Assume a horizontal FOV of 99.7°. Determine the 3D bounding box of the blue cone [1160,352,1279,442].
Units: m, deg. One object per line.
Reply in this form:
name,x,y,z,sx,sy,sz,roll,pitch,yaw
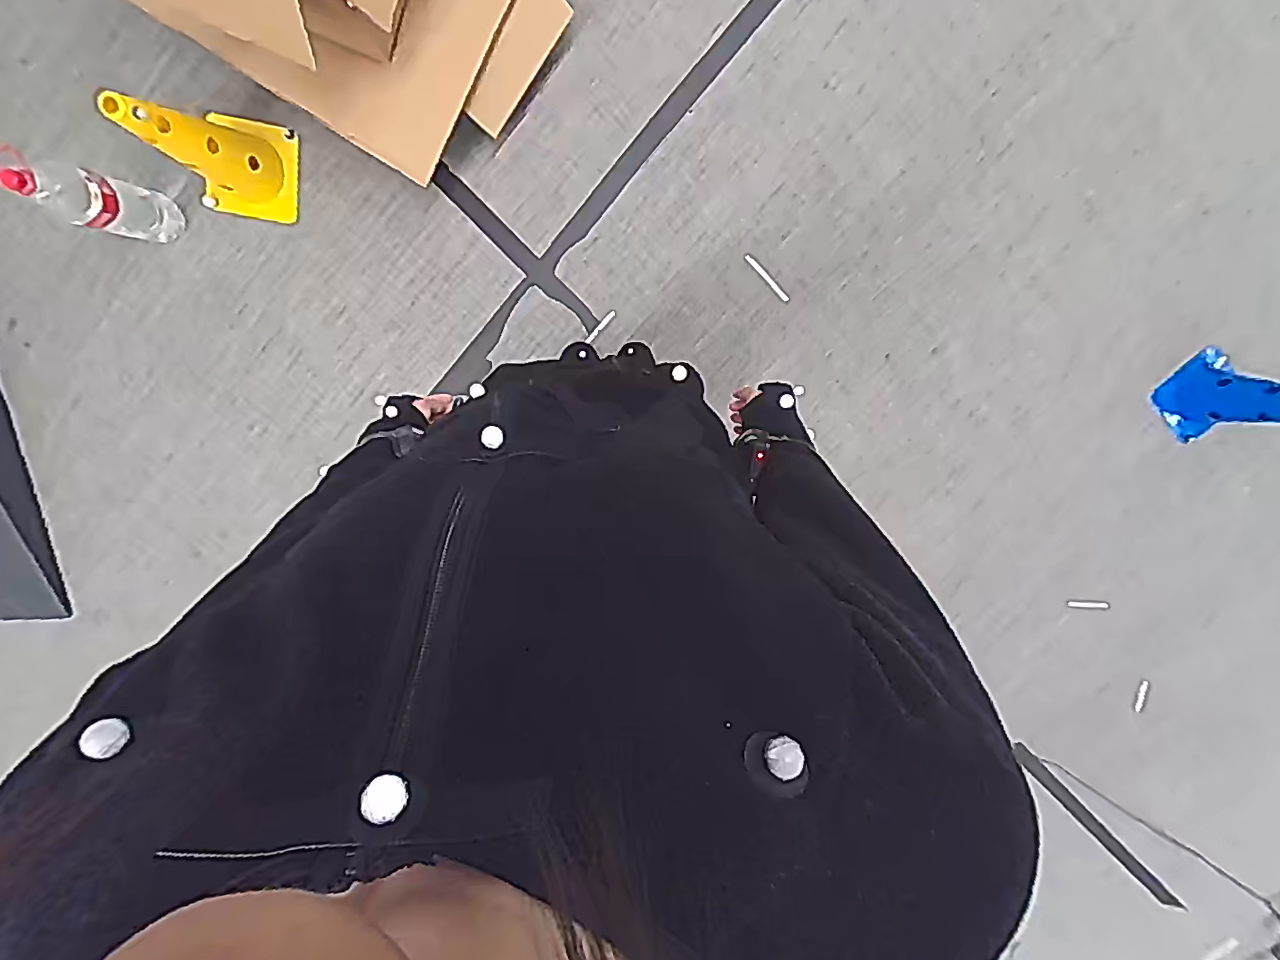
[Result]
blue cone,1.505,-0.178,1.283,0.193,0.380,0.192,-42,103,9
